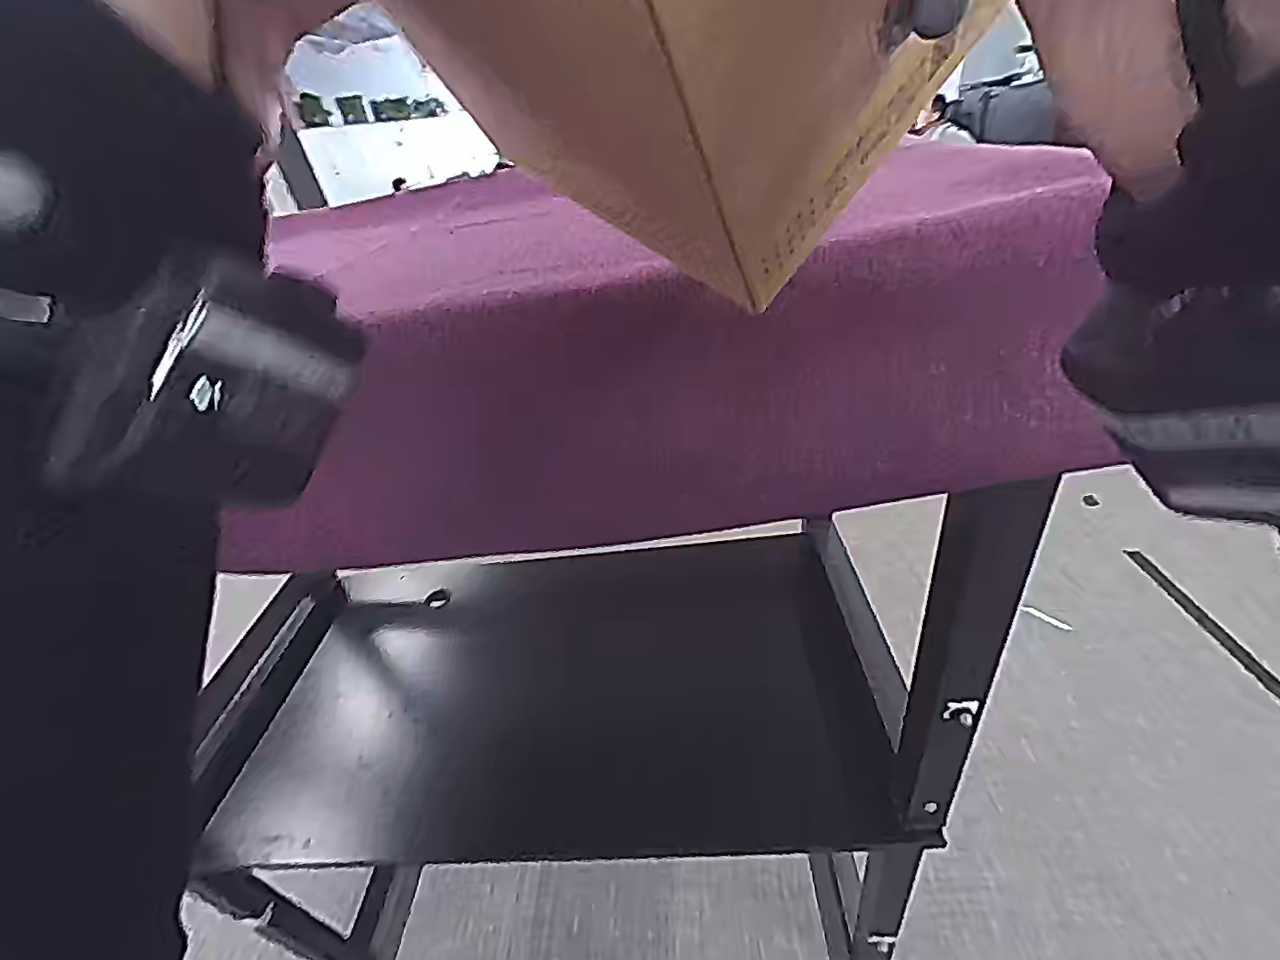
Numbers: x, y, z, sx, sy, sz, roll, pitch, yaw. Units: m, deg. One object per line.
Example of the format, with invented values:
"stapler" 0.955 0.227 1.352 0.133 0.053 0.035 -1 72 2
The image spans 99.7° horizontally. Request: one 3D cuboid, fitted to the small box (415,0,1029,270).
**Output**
"small box" 0.013 -0.199 0.162 0.179 0.176 0.168 42 96 25
